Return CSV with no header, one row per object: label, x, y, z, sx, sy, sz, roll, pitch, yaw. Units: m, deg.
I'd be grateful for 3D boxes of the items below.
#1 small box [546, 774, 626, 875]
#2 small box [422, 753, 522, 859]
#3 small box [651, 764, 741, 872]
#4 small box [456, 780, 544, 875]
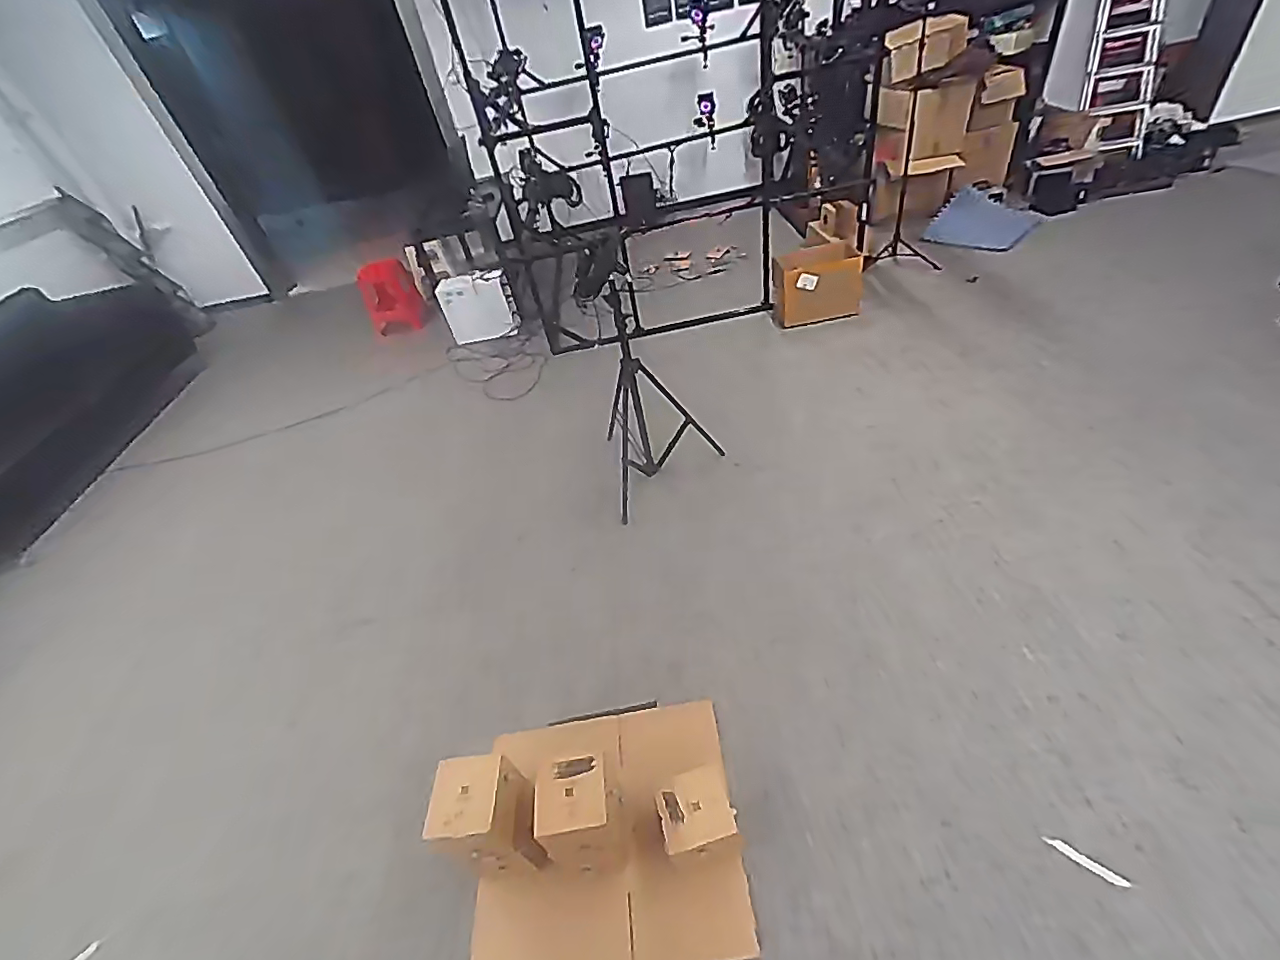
small box,-0.132,0.888,1.394,0.168,0.176,0.179,-8,42,5
small box,-0.398,0.795,1.317,0.168,0.176,0.179,-9,42,6
small box,0.143,0.853,1.359,0.179,0.176,0.168,-17,42,-4
small box,-0.358,0.918,1.421,0.168,0.176,0.179,-10,42,5
